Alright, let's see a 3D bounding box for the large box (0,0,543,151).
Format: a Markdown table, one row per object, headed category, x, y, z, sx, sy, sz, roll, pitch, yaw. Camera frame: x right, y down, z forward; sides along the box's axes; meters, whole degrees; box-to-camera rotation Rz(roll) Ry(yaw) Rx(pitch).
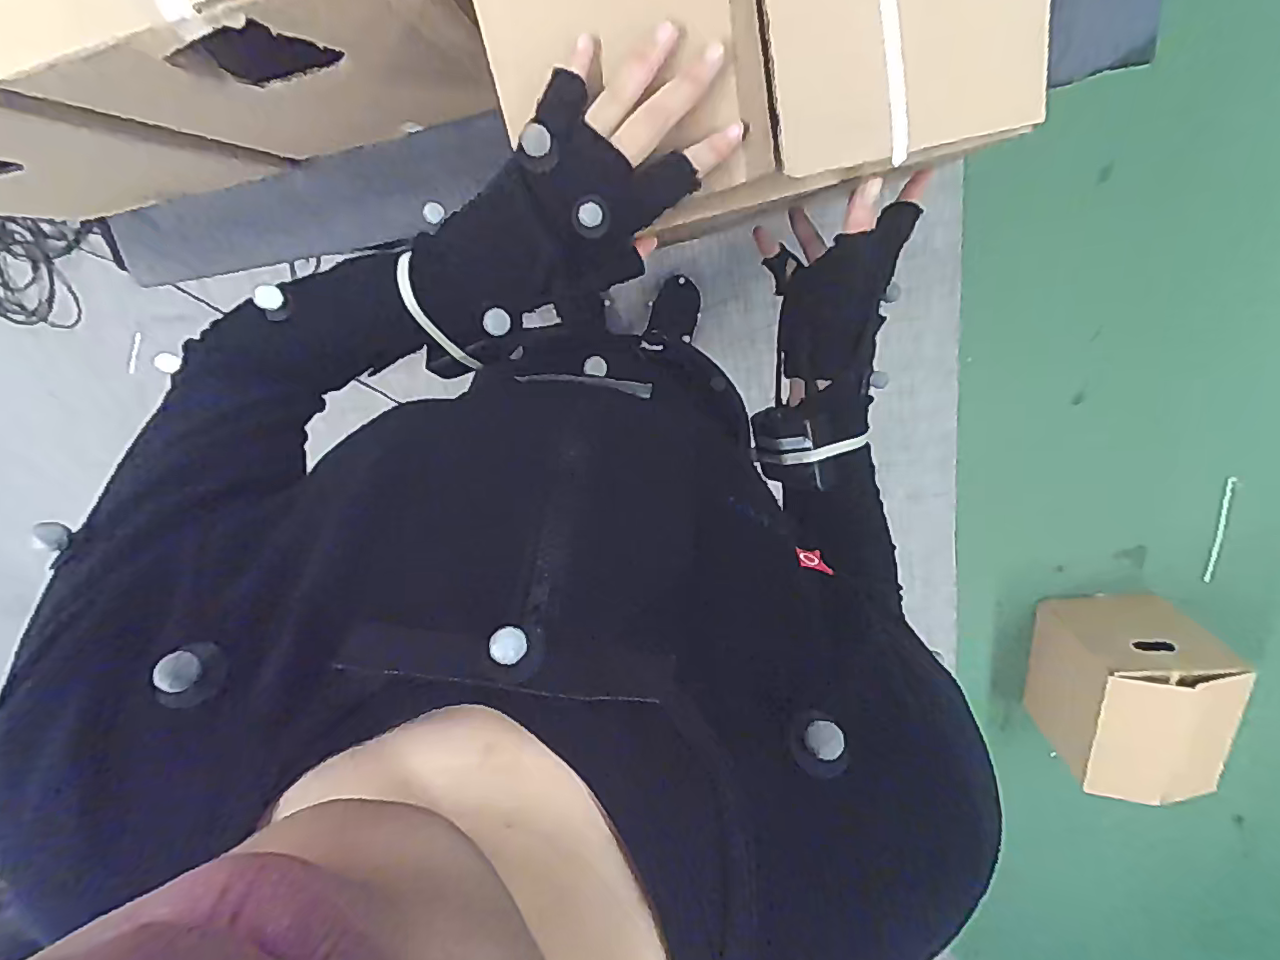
| category | x | y | z | sx | sy | sz | roll | pitch | yaw |
| --- | --- | --- | --- | --- | --- | --- | --- | --- | --- |
| large box | -0.298 | -0.525 | 0.399 | 0.320 | 0.320 | 0.408 | -8 | 112 | 9 |
